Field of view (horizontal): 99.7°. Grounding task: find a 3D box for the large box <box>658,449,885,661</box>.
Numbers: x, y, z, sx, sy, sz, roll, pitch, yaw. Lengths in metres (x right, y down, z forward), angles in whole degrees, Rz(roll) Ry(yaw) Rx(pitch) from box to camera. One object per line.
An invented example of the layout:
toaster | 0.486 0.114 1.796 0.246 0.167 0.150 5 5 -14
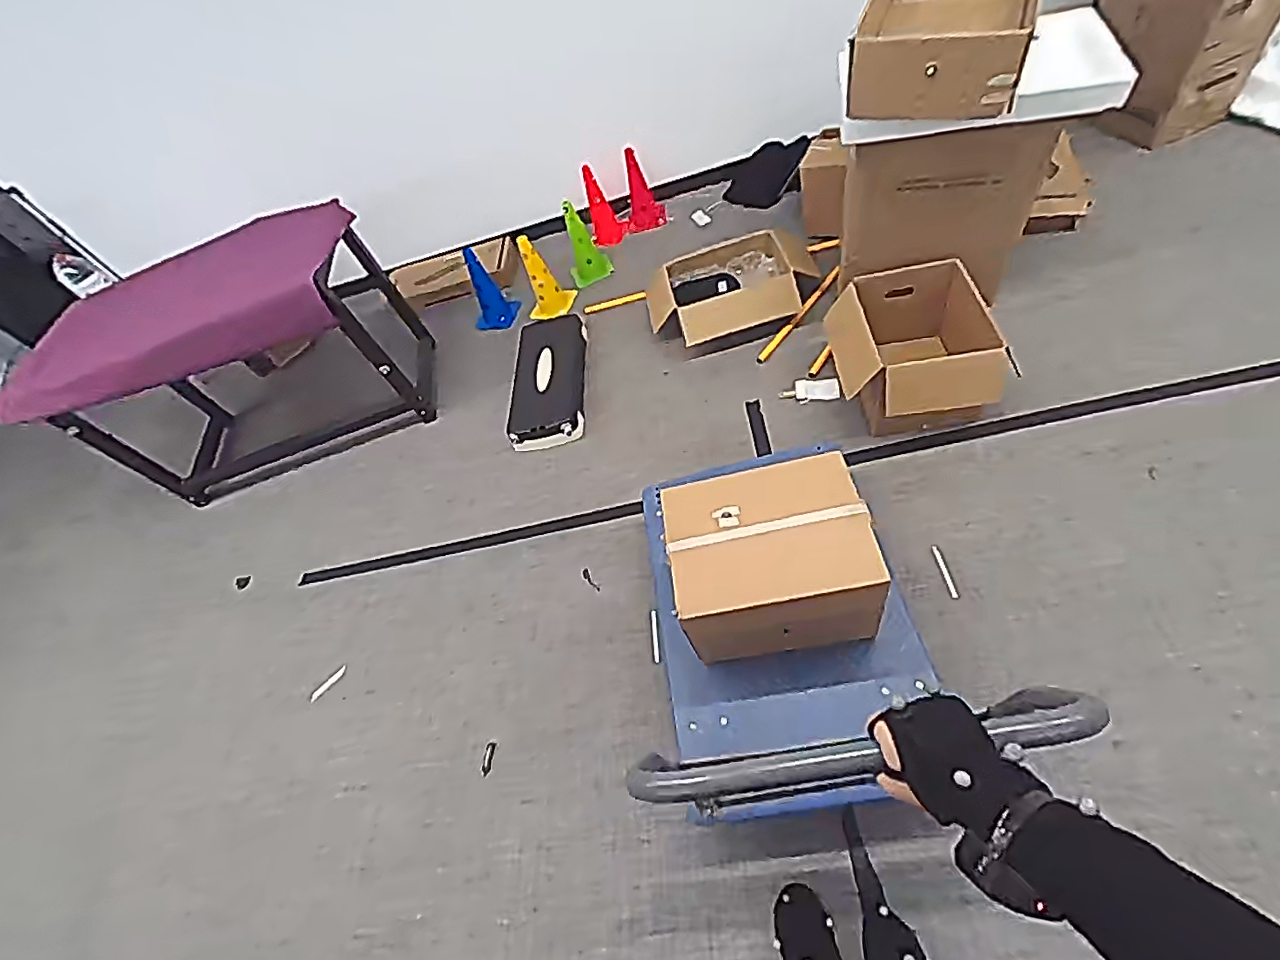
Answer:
large box | 0.286 0.183 1.220 0.408 0.320 0.320 -14 52 10
